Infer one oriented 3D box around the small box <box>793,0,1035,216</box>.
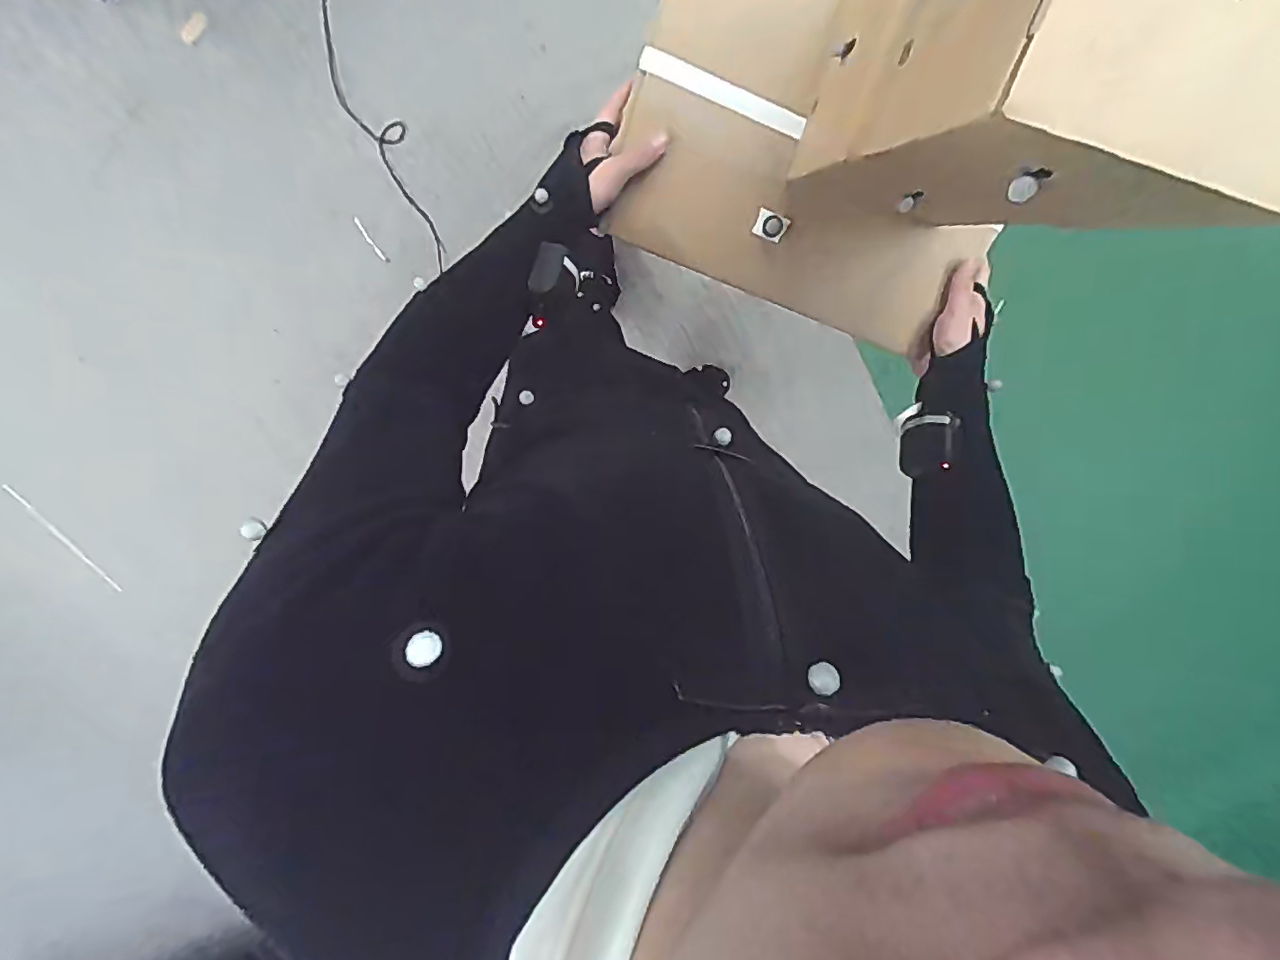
[{"bbox_3d":[0.246,-0.325,0.442,0.179,0.176,0.168,13,114,-5],"label":"small box"}]
